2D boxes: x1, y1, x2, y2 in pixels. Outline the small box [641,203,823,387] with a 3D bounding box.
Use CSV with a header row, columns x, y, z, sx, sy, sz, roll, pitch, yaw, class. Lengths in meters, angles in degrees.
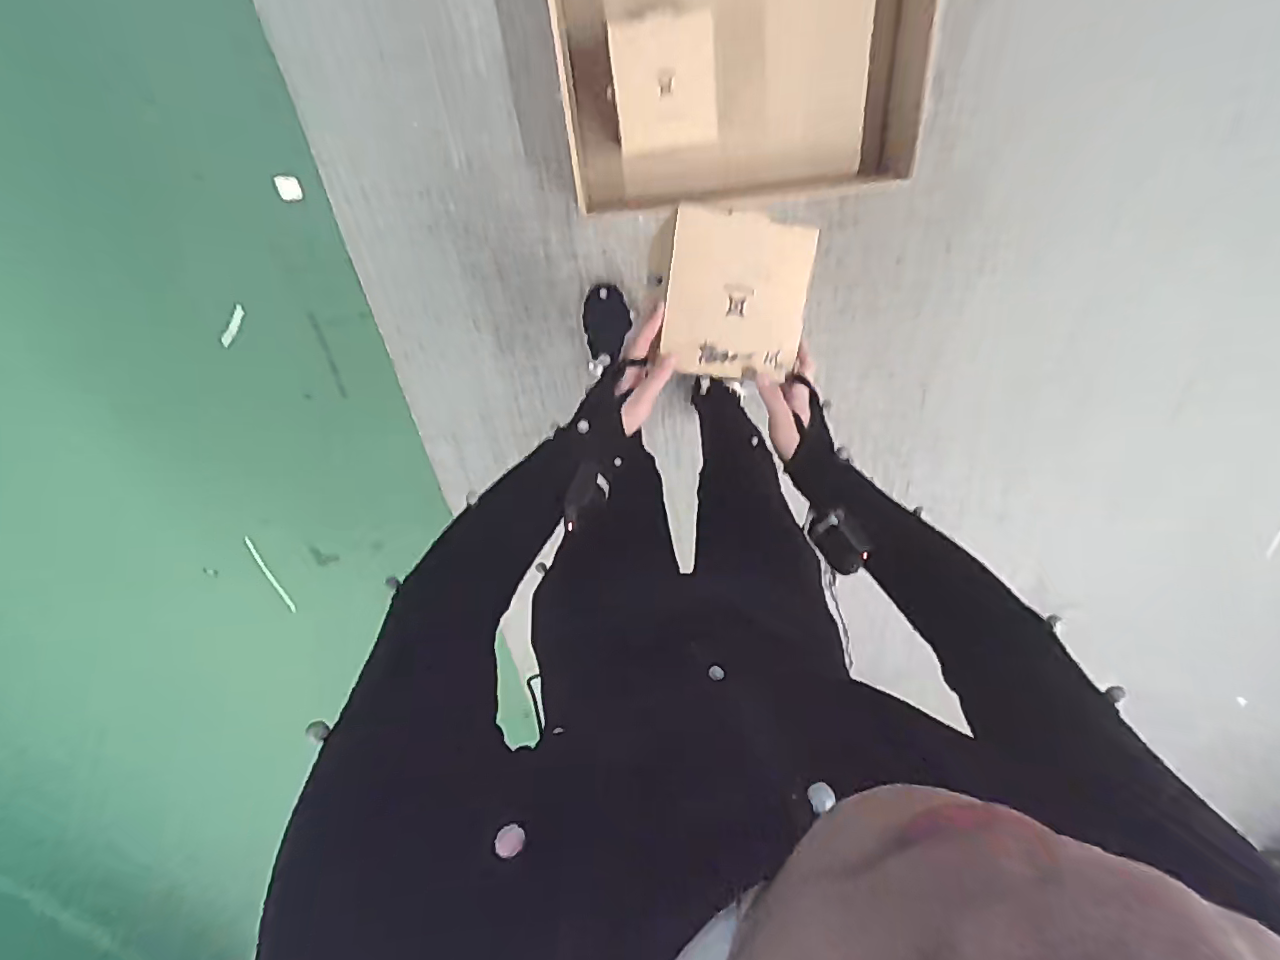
x,y,z,sx,sy,sz,roll,pitch,yaw,class
0.100,-0.215,0.672,0.168,0.176,0.179,5,101,-10,small box
